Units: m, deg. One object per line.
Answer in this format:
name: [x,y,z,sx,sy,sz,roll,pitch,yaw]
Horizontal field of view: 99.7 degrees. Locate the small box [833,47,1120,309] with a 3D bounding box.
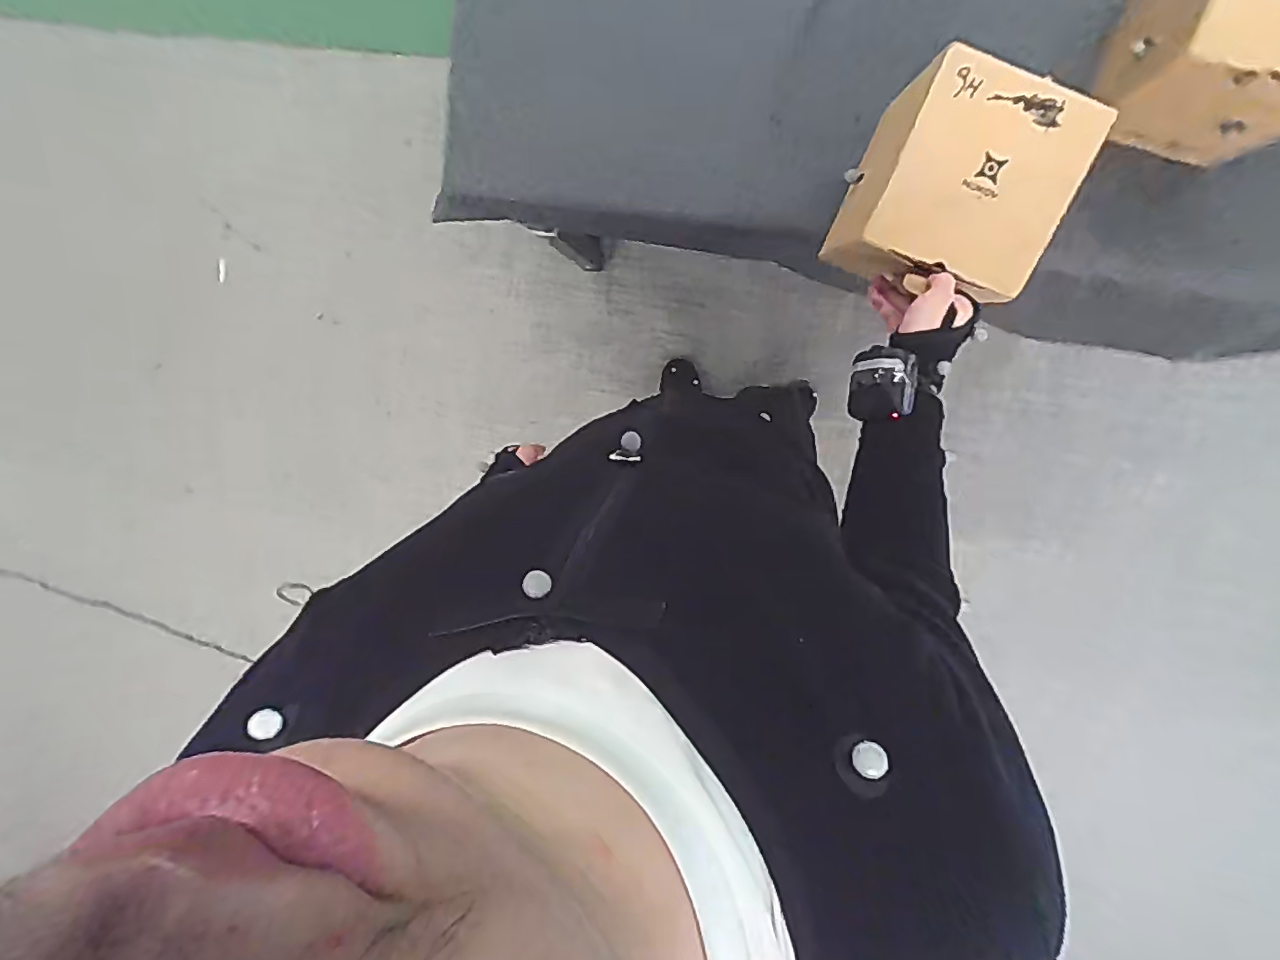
small box: [0.327,-0.295,0.577,0.168,0.176,0.179,22,106,-3]

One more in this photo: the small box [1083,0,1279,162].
small box: [0.623,-0.470,0.567,0.168,0.176,0.179,18,102,2]
